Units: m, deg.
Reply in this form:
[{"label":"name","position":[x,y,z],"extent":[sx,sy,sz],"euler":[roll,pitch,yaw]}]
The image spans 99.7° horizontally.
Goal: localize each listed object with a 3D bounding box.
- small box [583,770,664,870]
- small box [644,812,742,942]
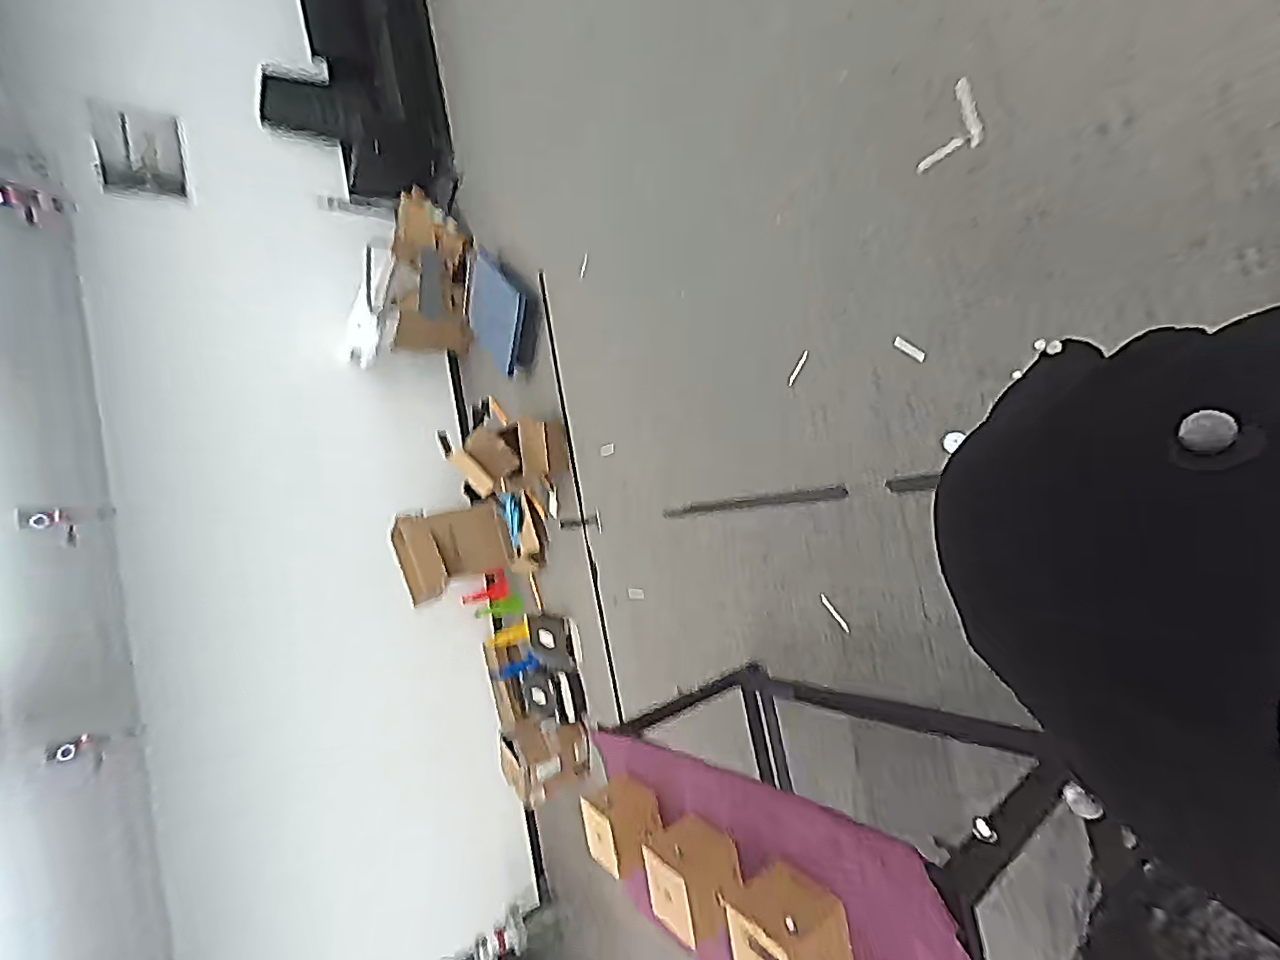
[{"label":"small box","position":[-0.047,1.002,1.616],"extent":[0.179,0.176,0.168],"euler":[-9,91,55]},{"label":"small box","position":[0.135,0.964,1.336],"extent":[0.179,0.176,0.168],"euler":[-9,90,57]}]
